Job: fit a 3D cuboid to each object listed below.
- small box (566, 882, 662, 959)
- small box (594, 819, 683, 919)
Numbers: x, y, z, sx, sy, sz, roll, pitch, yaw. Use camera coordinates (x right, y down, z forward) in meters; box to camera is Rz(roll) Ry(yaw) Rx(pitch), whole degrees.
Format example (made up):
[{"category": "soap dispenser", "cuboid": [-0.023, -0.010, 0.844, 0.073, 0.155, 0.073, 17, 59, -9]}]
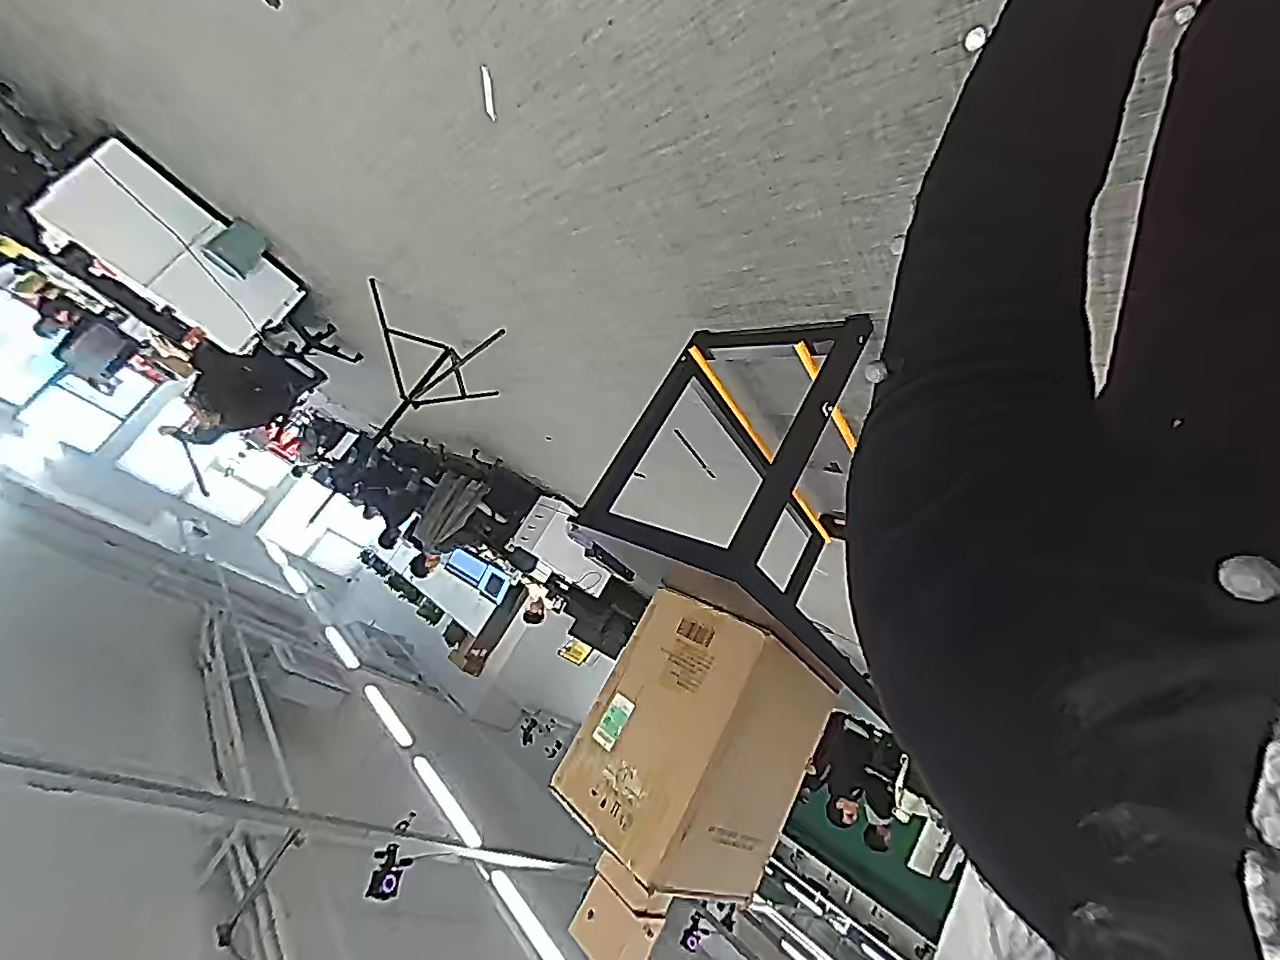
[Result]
[{"category": "small box", "cuboid": [-0.070, 1.275, 1.533, 0.179, 0.176, 0.168, 14, 157, 46]}, {"category": "small box", "cuboid": [0.005, 1.141, 1.593, 0.179, 0.176, 0.168, 13, 155, 47]}]
